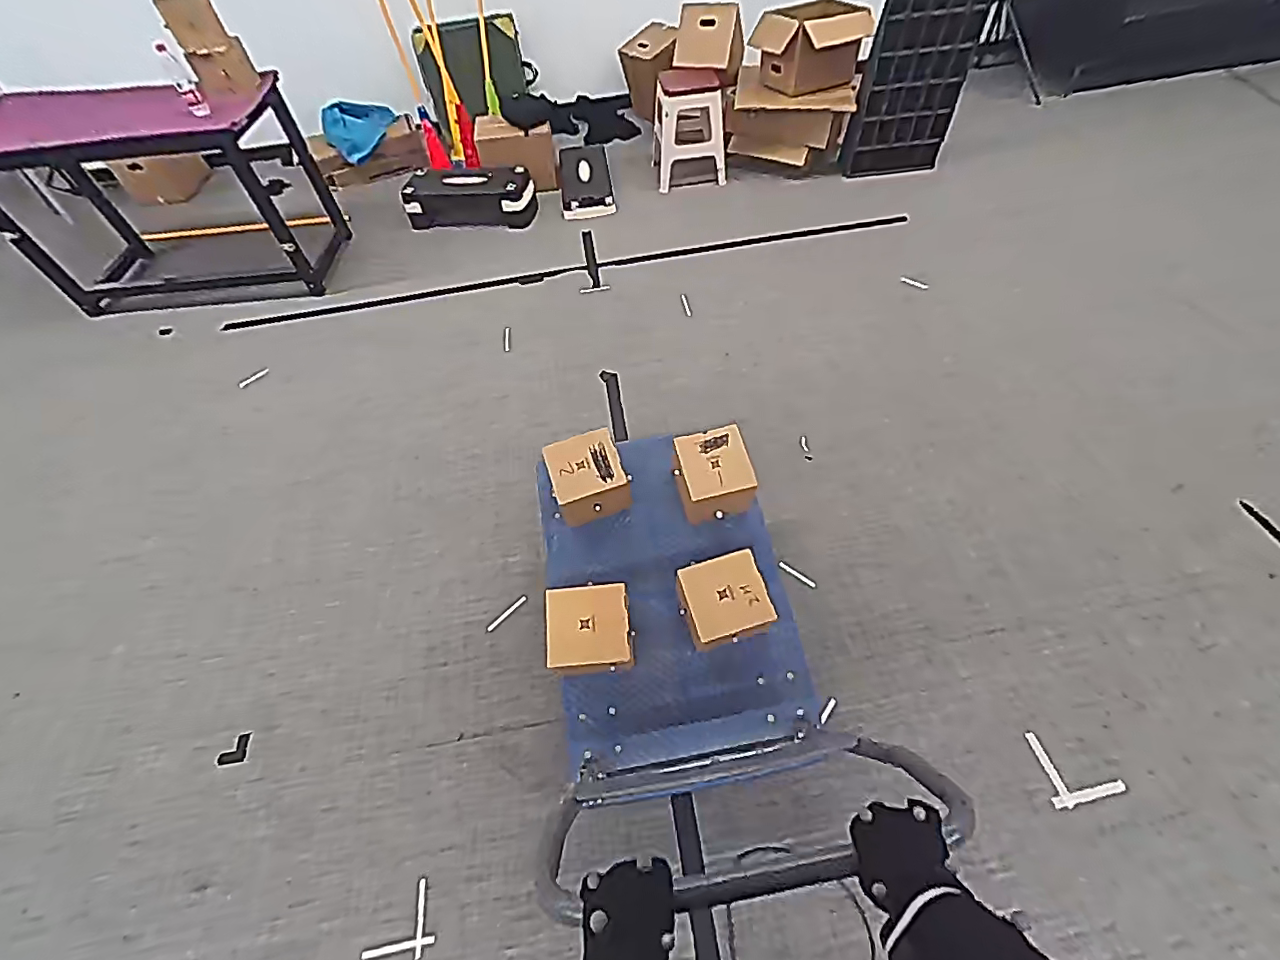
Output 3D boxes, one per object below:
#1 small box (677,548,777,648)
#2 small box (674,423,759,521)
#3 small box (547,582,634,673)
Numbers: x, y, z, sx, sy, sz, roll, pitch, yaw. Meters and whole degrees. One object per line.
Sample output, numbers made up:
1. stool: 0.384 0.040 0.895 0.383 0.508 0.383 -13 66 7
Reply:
1. small box: 0.192 0.279 1.246 0.179 0.176 0.168 -16 67 -5
2. small box: 0.185 -0.016 1.375 0.168 0.176 0.179 -14 68 -3
3. small box: -0.110 0.340 1.232 0.179 0.176 0.168 -5 66 -2
